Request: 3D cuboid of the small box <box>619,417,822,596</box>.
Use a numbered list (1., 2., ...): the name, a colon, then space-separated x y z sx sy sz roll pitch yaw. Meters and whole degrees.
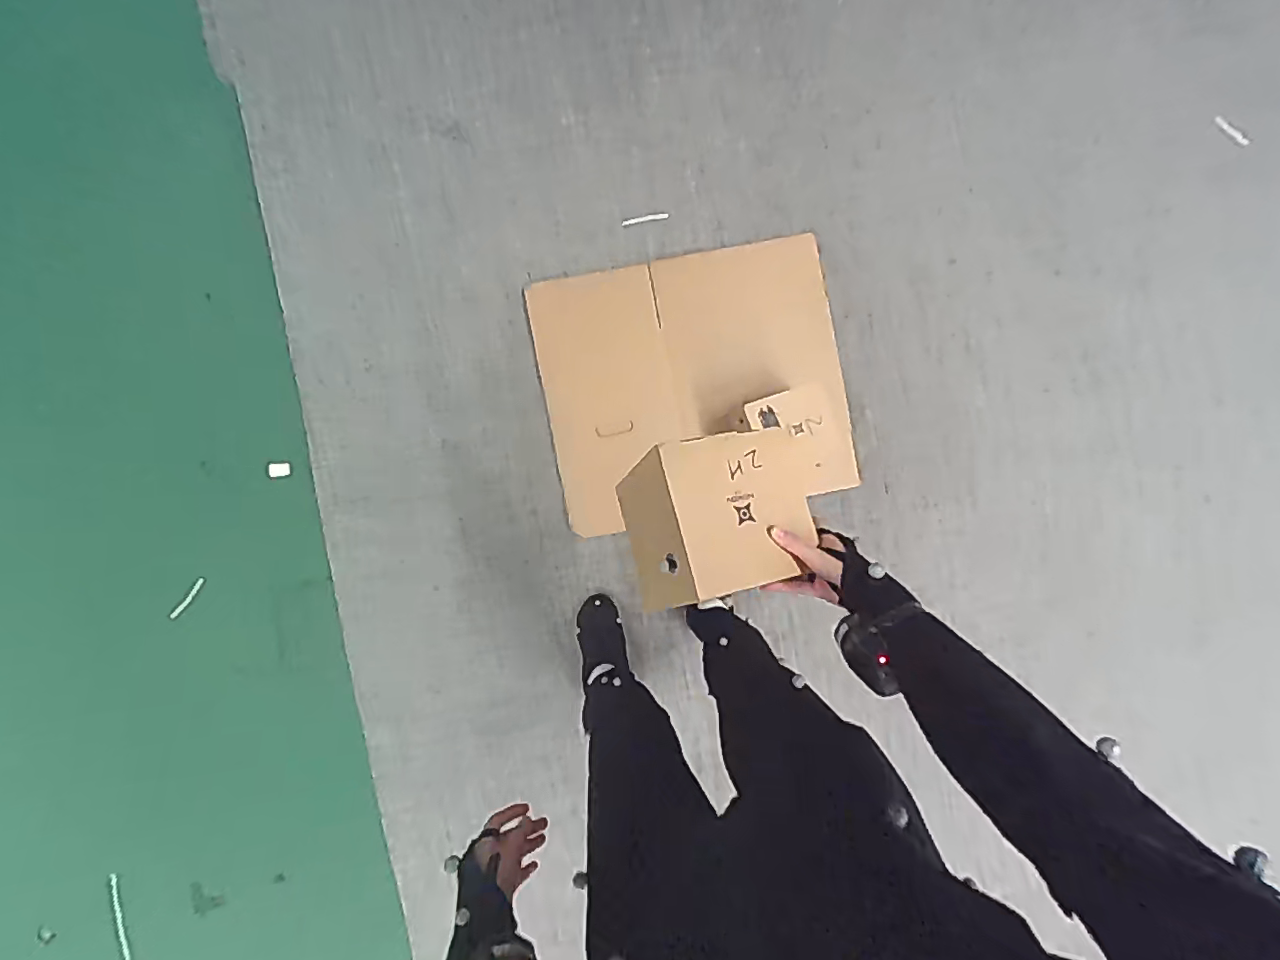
1. small box: 0.086 0.041 0.670 0.168 0.176 0.179 -10 76 -21
